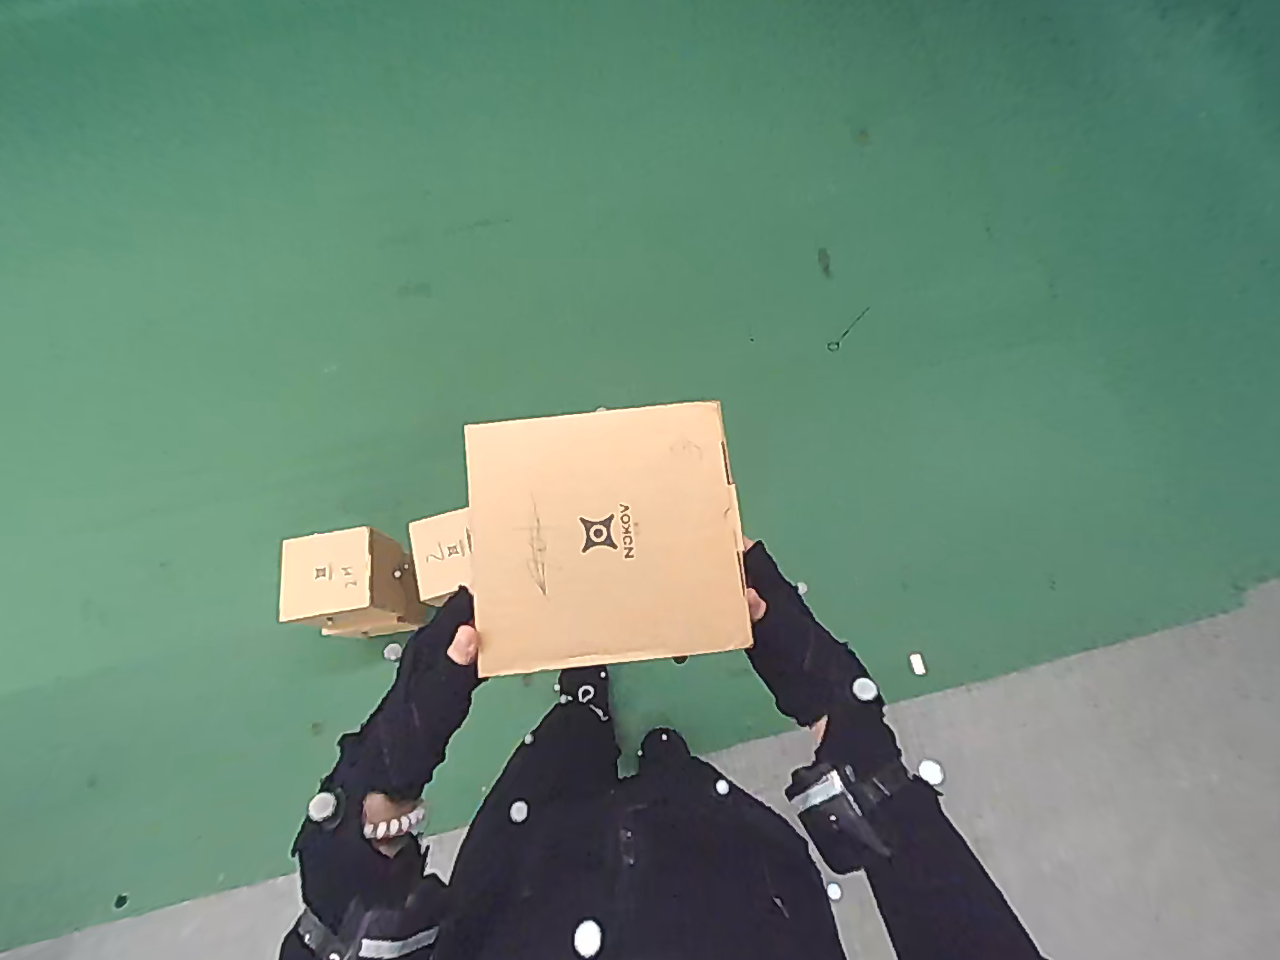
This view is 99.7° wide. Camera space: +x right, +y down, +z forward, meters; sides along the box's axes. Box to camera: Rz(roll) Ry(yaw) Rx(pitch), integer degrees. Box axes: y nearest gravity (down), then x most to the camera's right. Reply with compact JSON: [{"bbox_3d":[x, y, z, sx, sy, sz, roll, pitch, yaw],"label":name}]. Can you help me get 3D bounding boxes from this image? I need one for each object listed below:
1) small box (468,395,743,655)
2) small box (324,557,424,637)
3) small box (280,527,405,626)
[{"bbox_3d":[-0.026,0.041,0.434,0.179,0.176,0.168,-4,78,0],"label":"small box"},{"bbox_3d":[-0.630,0.279,1.299,0.168,0.176,0.179,-8,70,-4],"label":"small box"},{"bbox_3d":[-0.621,0.211,1.148,0.179,0.176,0.168,-8,71,-4],"label":"small box"}]
